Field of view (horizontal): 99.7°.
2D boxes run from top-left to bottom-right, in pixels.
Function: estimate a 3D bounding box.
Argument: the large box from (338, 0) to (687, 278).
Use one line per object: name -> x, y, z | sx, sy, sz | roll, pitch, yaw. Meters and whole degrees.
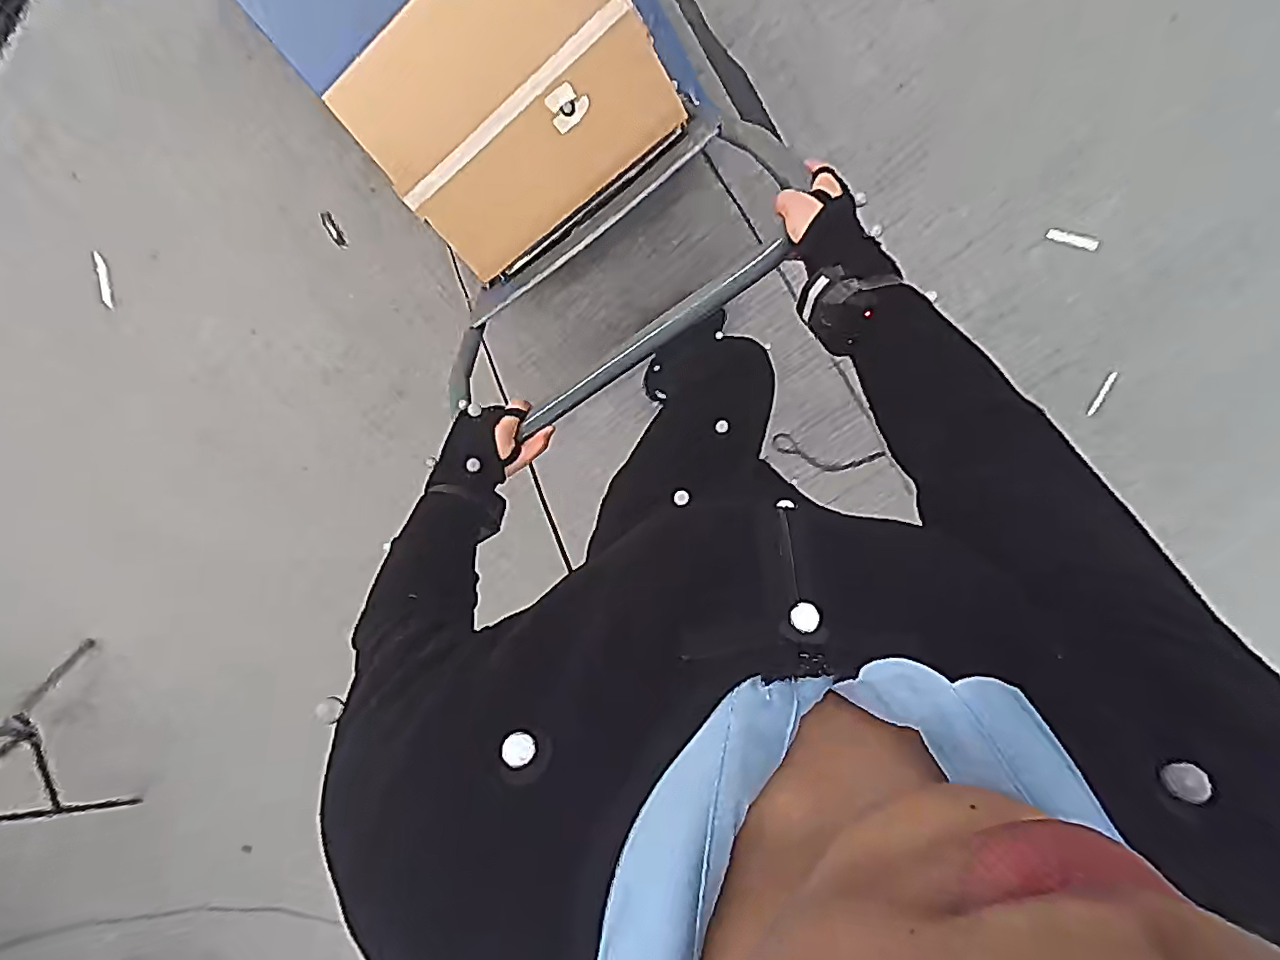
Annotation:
large box -> -0.189, -0.615, 0.887 | 0.408, 0.320, 0.320 | -33, 123, 16
